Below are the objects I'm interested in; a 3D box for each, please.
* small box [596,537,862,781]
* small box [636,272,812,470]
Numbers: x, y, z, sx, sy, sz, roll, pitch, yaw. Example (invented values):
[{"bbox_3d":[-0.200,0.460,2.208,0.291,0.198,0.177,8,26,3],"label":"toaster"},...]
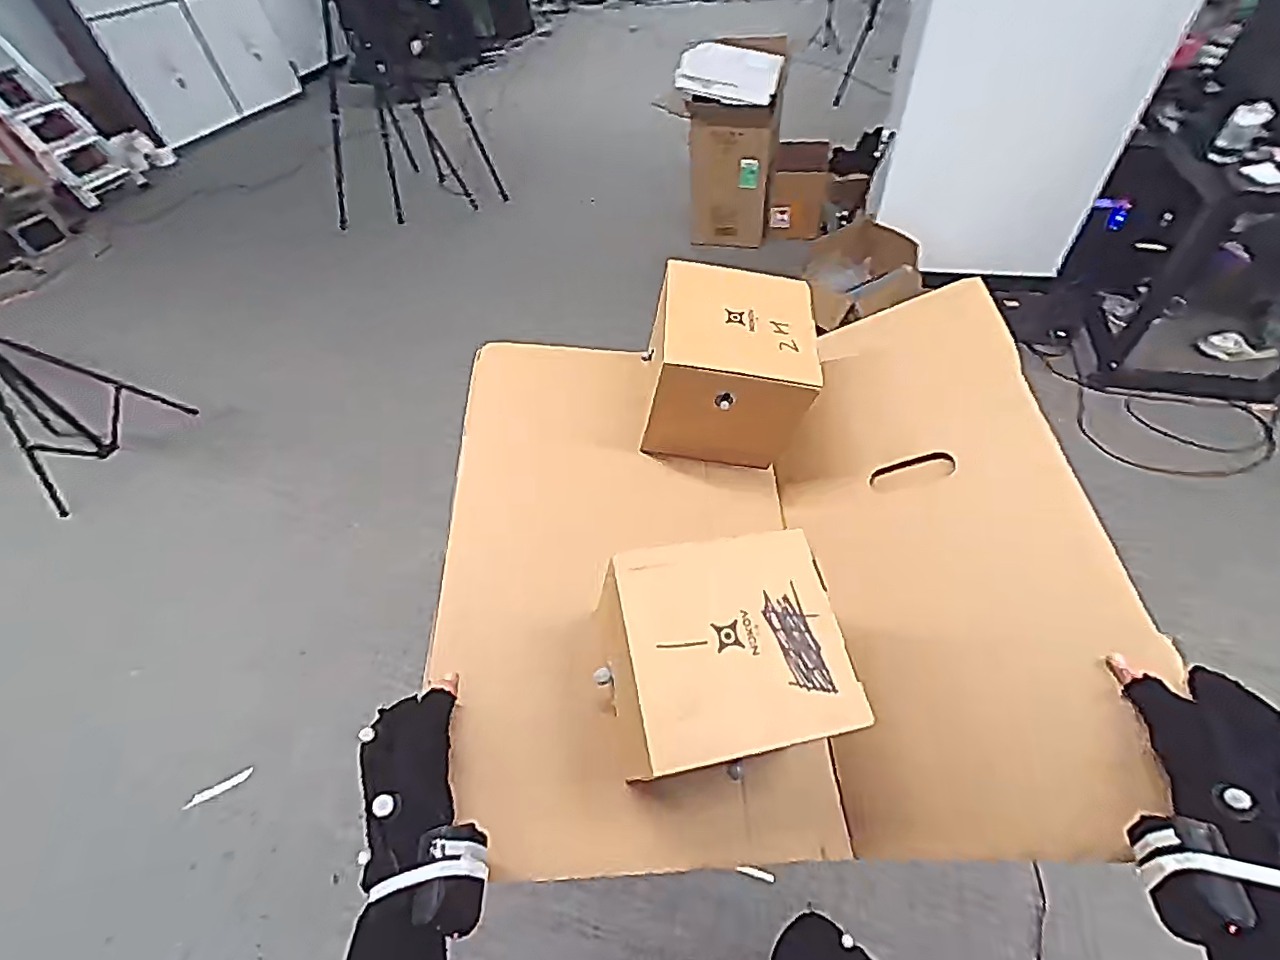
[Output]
[{"bbox_3d":[0.062,0.169,0.501,0.179,0.176,0.168,-7,62,-12],"label":"small box"},{"bbox_3d":[0.094,-0.128,0.681,0.179,0.176,0.168,8,59,-6],"label":"small box"}]
